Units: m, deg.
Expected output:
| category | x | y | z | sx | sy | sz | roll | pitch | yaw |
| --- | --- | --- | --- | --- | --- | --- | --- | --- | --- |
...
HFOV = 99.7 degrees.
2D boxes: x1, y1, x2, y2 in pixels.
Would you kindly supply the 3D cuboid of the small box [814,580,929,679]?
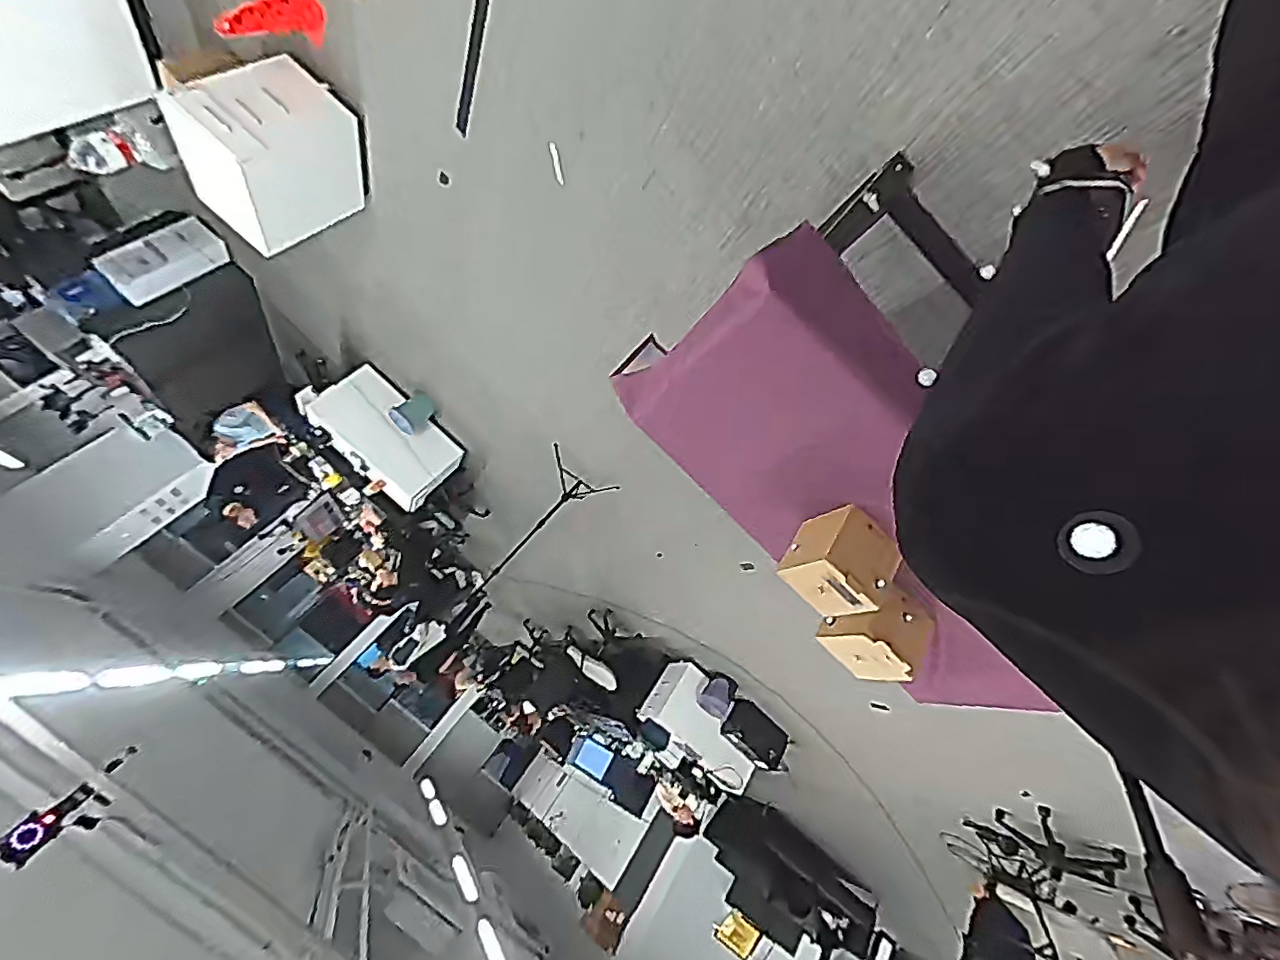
| category | x | y | z | sx | sy | sz | roll | pitch | yaw |
| --- | --- | --- | --- | --- | --- | --- | --- | --- | --- |
| small box | 0.575 | 0.369 | 1.339 | 0.168 | 0.176 | 0.179 | 43 | 150 | -6 |
